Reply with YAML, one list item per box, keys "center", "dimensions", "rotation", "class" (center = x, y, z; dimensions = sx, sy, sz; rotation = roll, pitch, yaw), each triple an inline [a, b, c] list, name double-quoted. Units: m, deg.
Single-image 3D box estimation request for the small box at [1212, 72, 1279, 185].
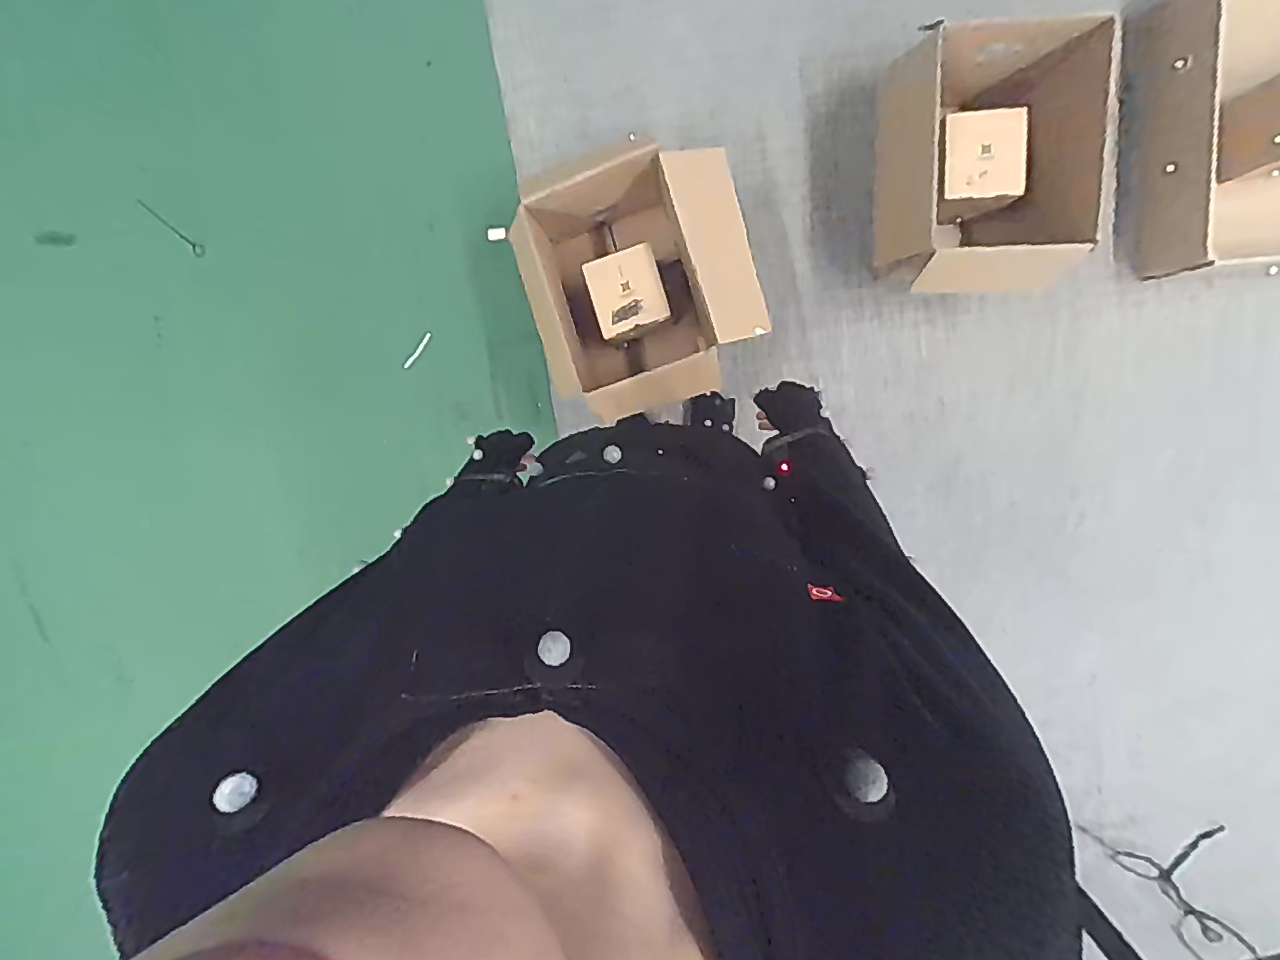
- center: [1.380, -0.764, 1.149]
  dimensions: [0.168, 0.176, 0.179]
  rotation: [-9, 97, 4]
  class: "small box"
